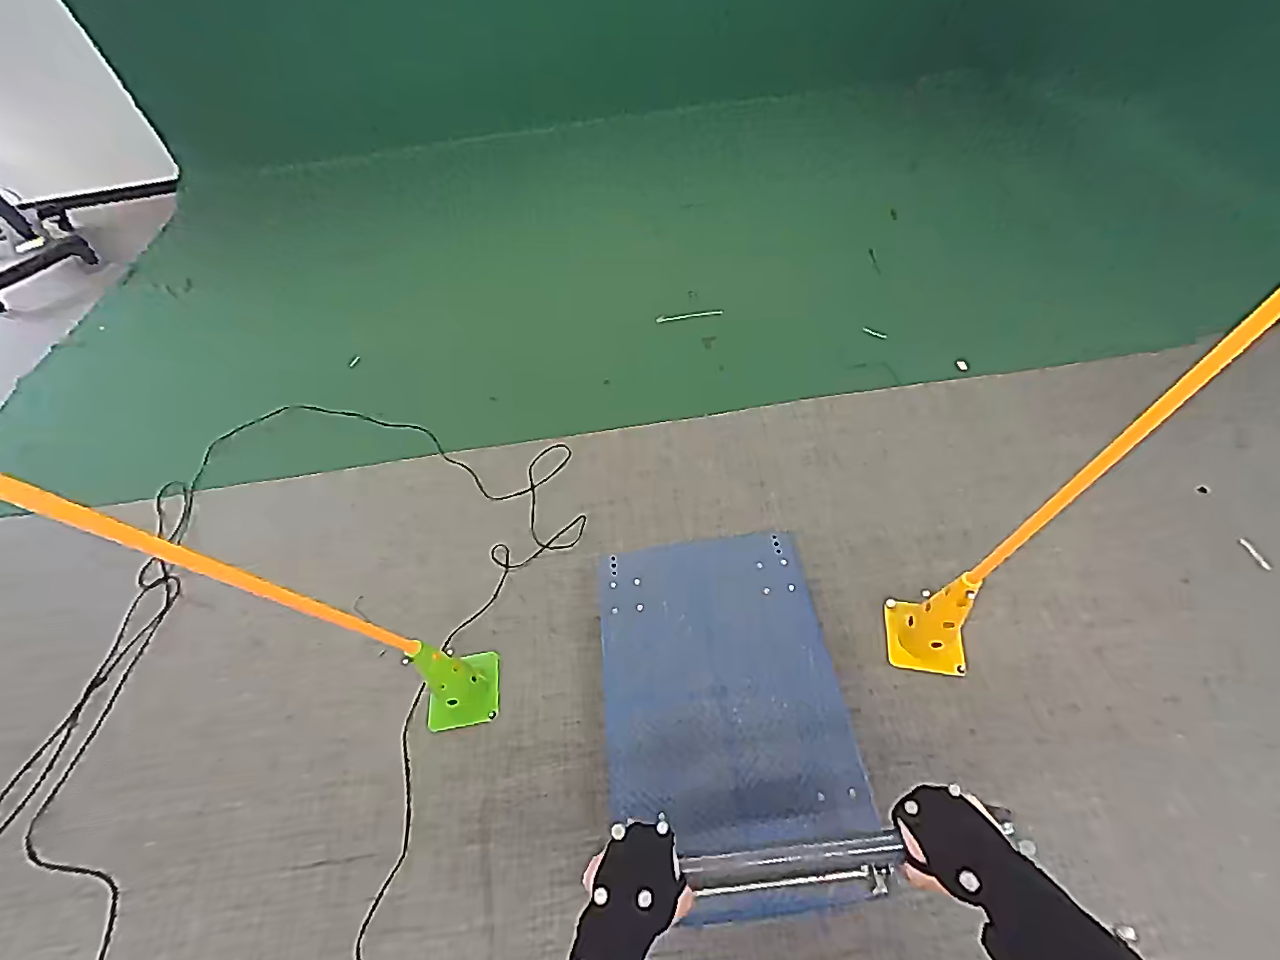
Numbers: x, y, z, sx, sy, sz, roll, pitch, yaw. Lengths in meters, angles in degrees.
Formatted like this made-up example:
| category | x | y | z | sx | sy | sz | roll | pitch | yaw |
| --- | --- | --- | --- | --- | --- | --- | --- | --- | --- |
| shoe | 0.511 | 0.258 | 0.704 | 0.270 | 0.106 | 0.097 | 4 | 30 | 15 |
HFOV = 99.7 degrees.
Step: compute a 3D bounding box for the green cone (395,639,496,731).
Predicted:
| category | x | y | z | sx | sy | sz | roll | pitch | yaw |
| --- | --- | --- | --- | --- | --- | --- | --- | --- | --- |
| green cone | -0.536 | 0.500 | 1.424 | 0.202 | 0.368 | 0.200 | -12 | 52 | -1 |
